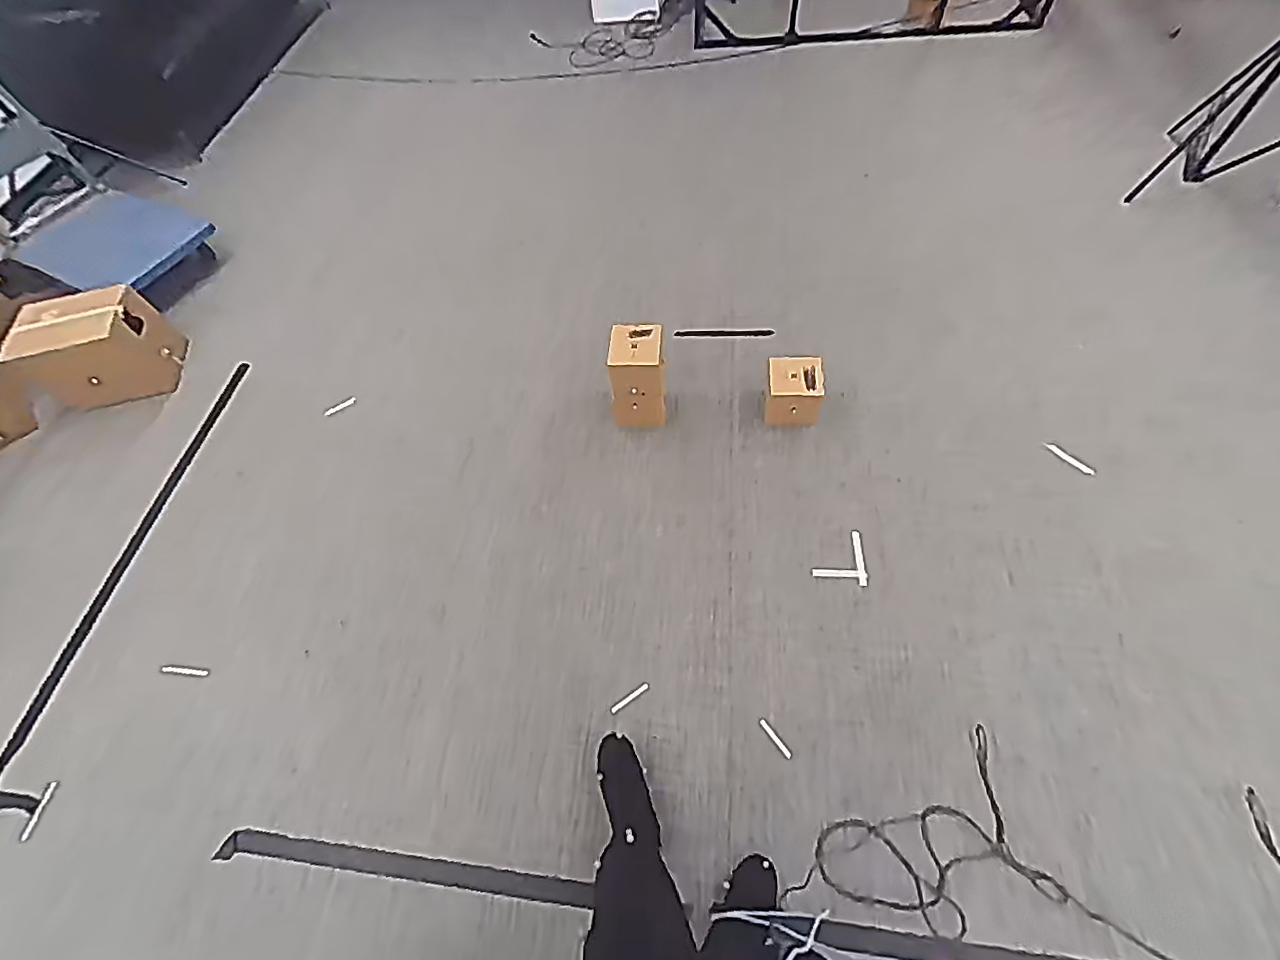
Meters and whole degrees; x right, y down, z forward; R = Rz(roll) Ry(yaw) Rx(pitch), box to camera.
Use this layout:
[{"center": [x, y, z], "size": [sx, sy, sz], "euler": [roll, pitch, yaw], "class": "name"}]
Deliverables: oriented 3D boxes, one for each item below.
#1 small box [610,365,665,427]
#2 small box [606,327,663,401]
[{"center": [-0.002, -0.300, 1.931], "size": [0.179, 0.176, 0.168], "euler": [1, 60, 7], "class": "small box"}, {"center": [-0.012, -0.385, 1.791], "size": [0.168, 0.176, 0.179], "euler": [1, 61, 7], "class": "small box"}]
